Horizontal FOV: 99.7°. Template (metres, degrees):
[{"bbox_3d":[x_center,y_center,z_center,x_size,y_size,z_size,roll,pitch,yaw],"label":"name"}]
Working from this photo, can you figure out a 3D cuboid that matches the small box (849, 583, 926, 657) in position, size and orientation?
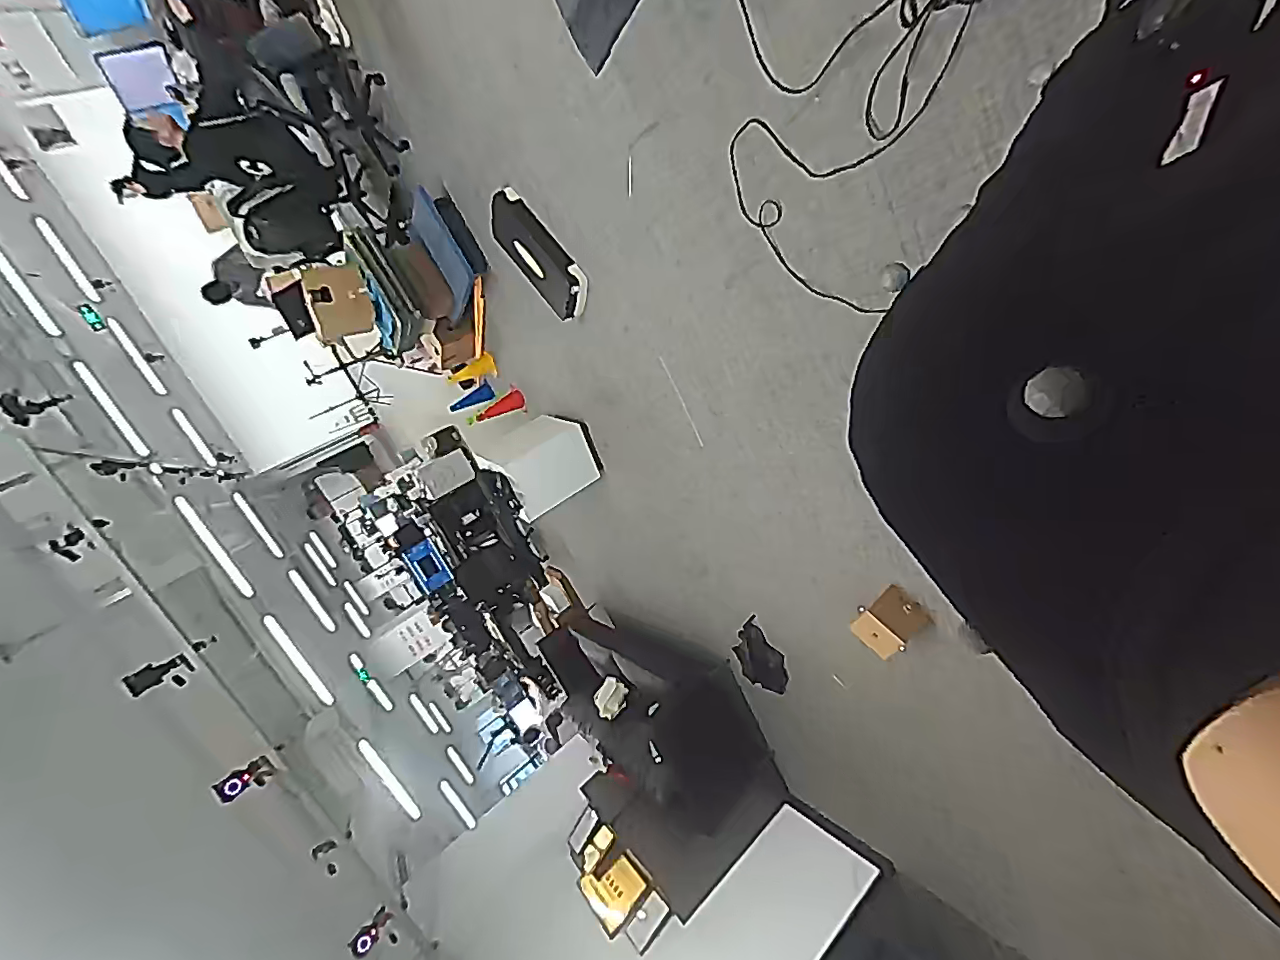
[{"bbox_3d":[0.917,0.514,1.998,0.168,0.176,0.179,43,151,24],"label":"small box"}]
